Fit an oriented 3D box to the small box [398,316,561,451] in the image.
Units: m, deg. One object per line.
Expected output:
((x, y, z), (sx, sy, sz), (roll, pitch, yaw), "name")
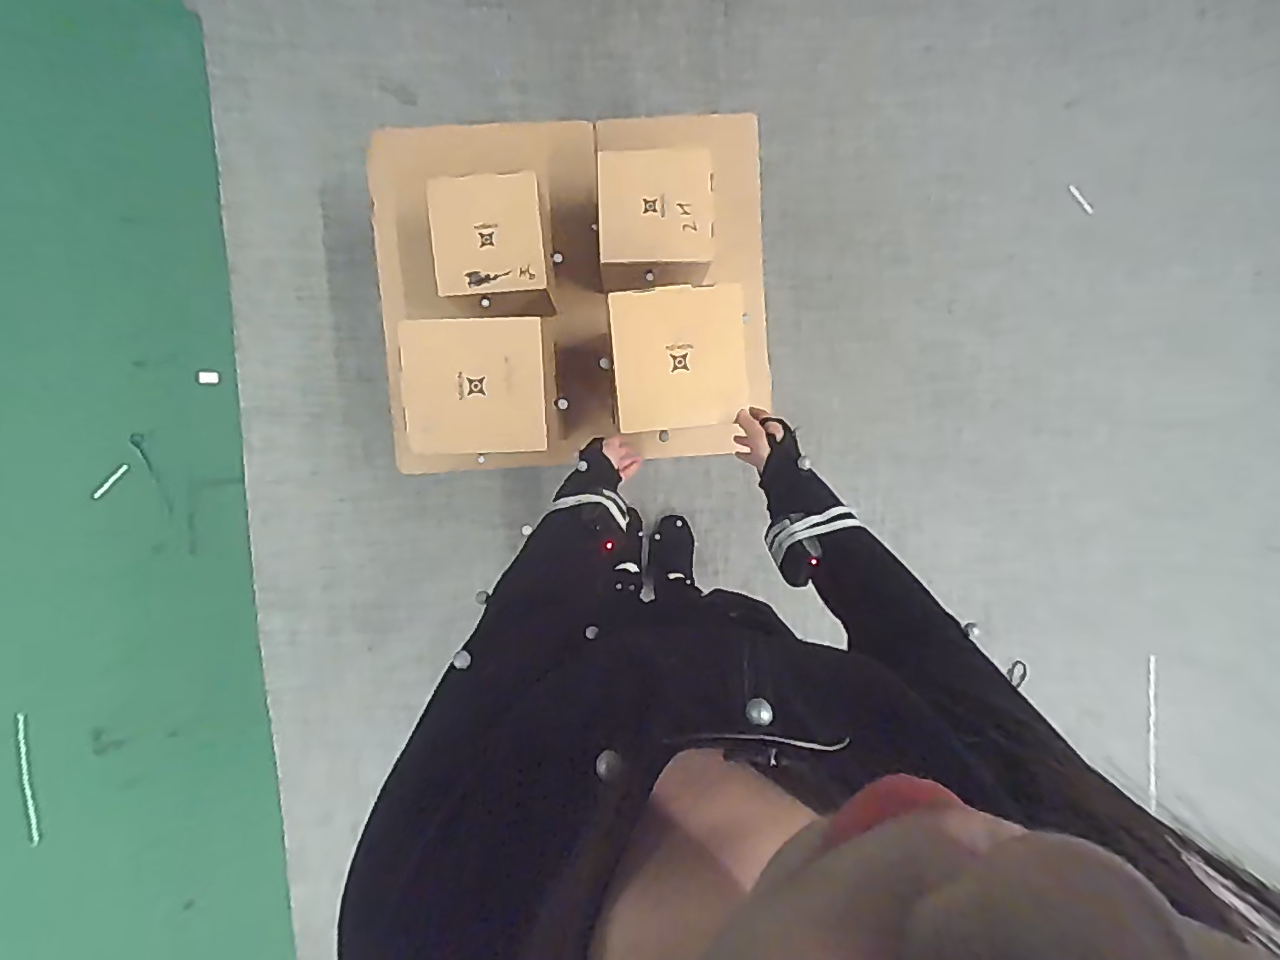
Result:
((-0.208, -0.124, 0.741), (0.179, 0.176, 0.168), (-2, 96, -2), "small box")

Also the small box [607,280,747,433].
((0.046, -0.158, 0.747), (0.168, 0.176, 0.179), (-5, 94, 0), "small box")

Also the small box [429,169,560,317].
((-0.228, -0.374, 0.885), (0.168, 0.176, 0.179), (-5, 93, 0), "small box")
